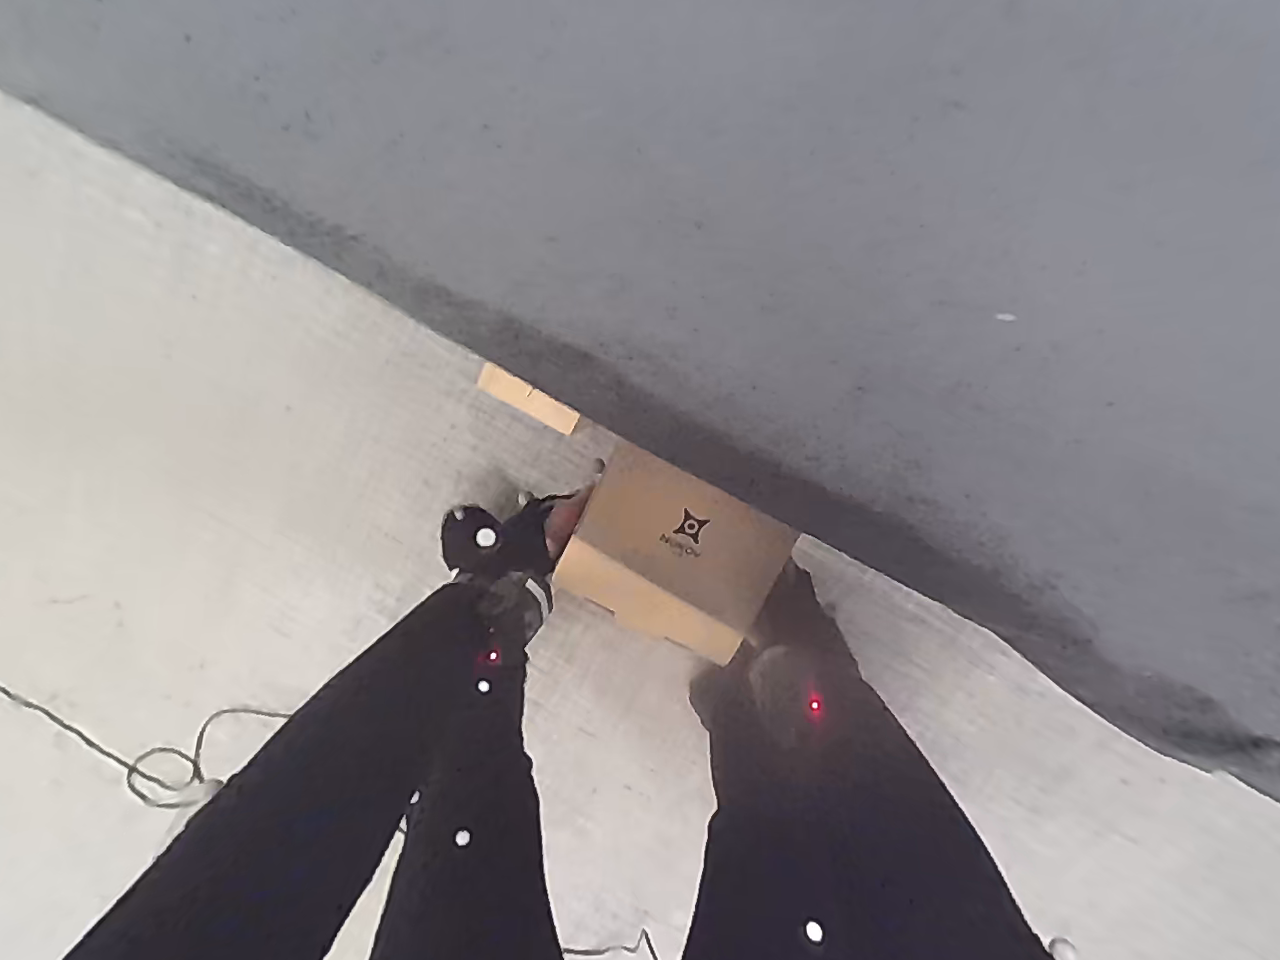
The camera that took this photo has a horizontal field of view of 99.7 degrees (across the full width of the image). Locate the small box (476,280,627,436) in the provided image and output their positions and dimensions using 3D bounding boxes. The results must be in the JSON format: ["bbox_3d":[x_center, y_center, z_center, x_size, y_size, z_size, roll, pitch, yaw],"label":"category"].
[{"bbox_3d":[-0.131,-0.192,0.872,0.168,0.176,0.179,28,103,1],"label":"small box"}]
